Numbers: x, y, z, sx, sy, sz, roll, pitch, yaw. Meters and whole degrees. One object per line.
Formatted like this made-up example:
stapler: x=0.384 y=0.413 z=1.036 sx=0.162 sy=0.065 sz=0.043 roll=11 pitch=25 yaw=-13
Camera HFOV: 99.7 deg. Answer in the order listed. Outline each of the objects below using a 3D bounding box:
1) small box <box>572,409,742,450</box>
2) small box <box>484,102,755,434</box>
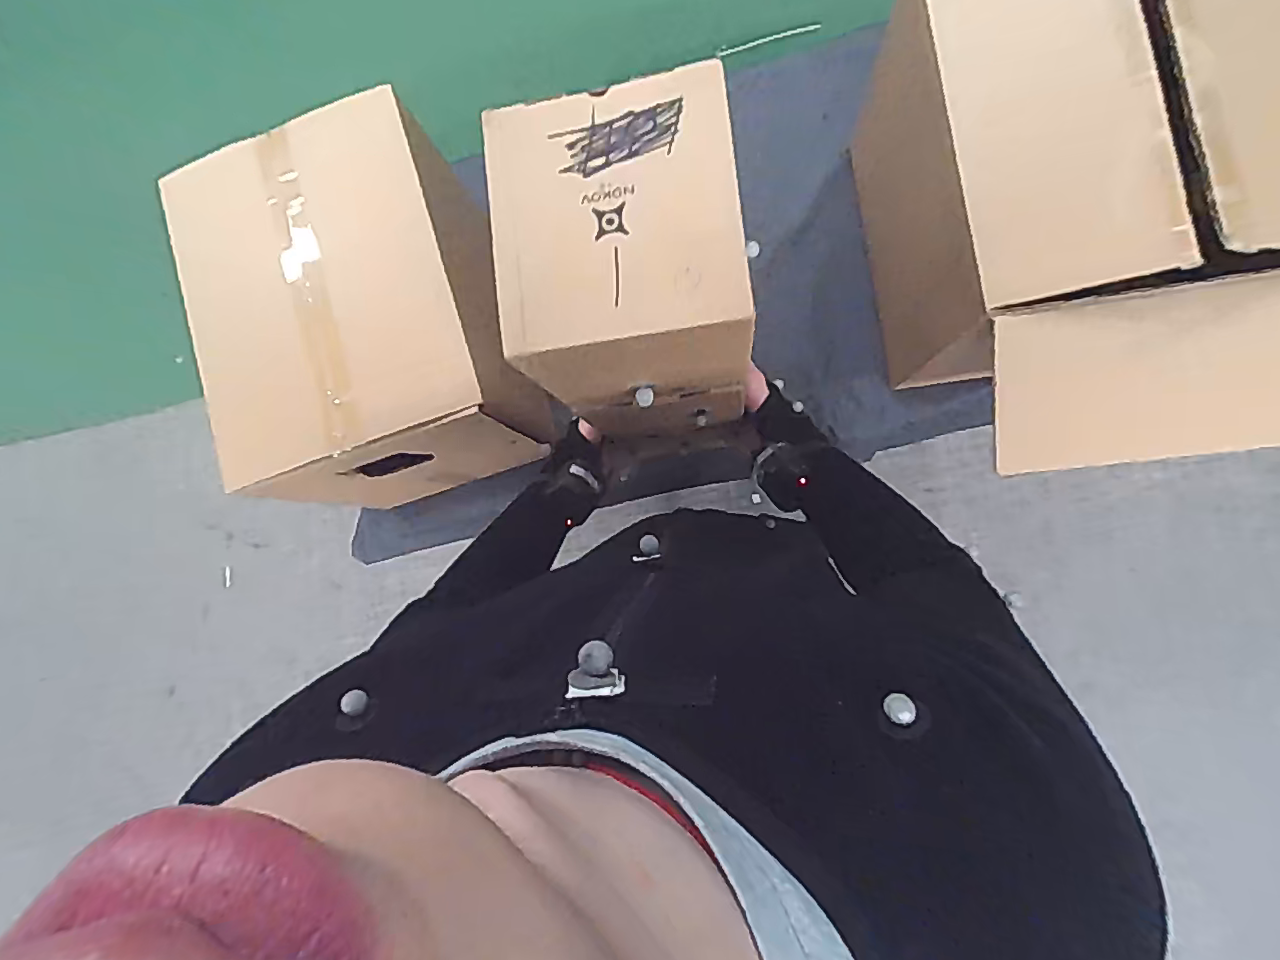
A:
small box: x=0.020 y=-0.130 z=0.587 sx=0.168 sy=0.176 sz=0.179 roll=-7 pitch=84 yaw=9
small box: x=-0.005 y=-0.141 z=0.425 sx=0.168 sy=0.176 sz=0.179 roll=-7 pitch=87 yaw=10
